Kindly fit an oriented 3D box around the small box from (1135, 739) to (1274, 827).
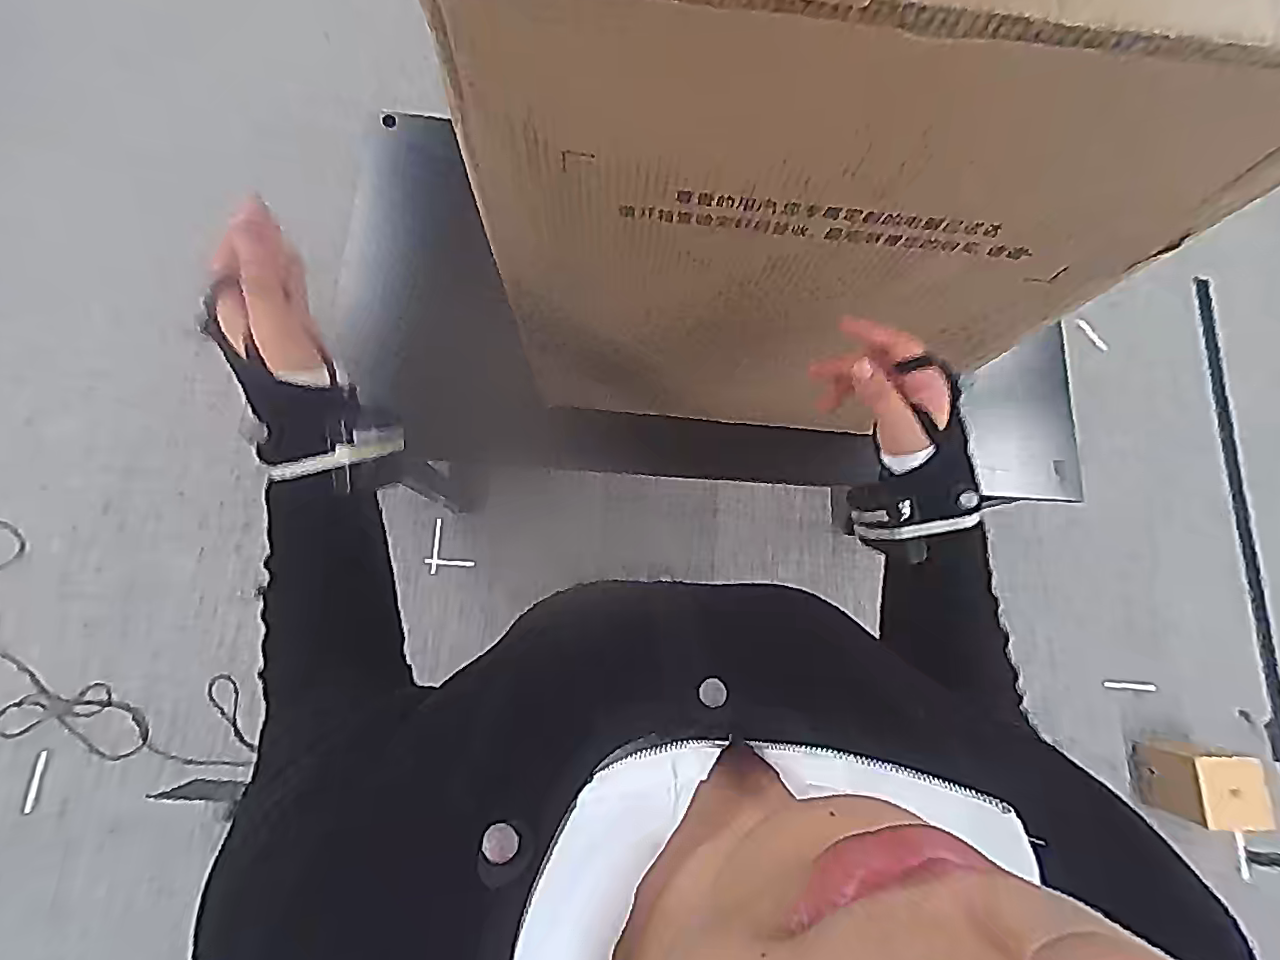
[{"bbox_3d":[1.469,0.786,1.417,0.179,0.176,0.168,0,77,-2],"label":"small box"}]
